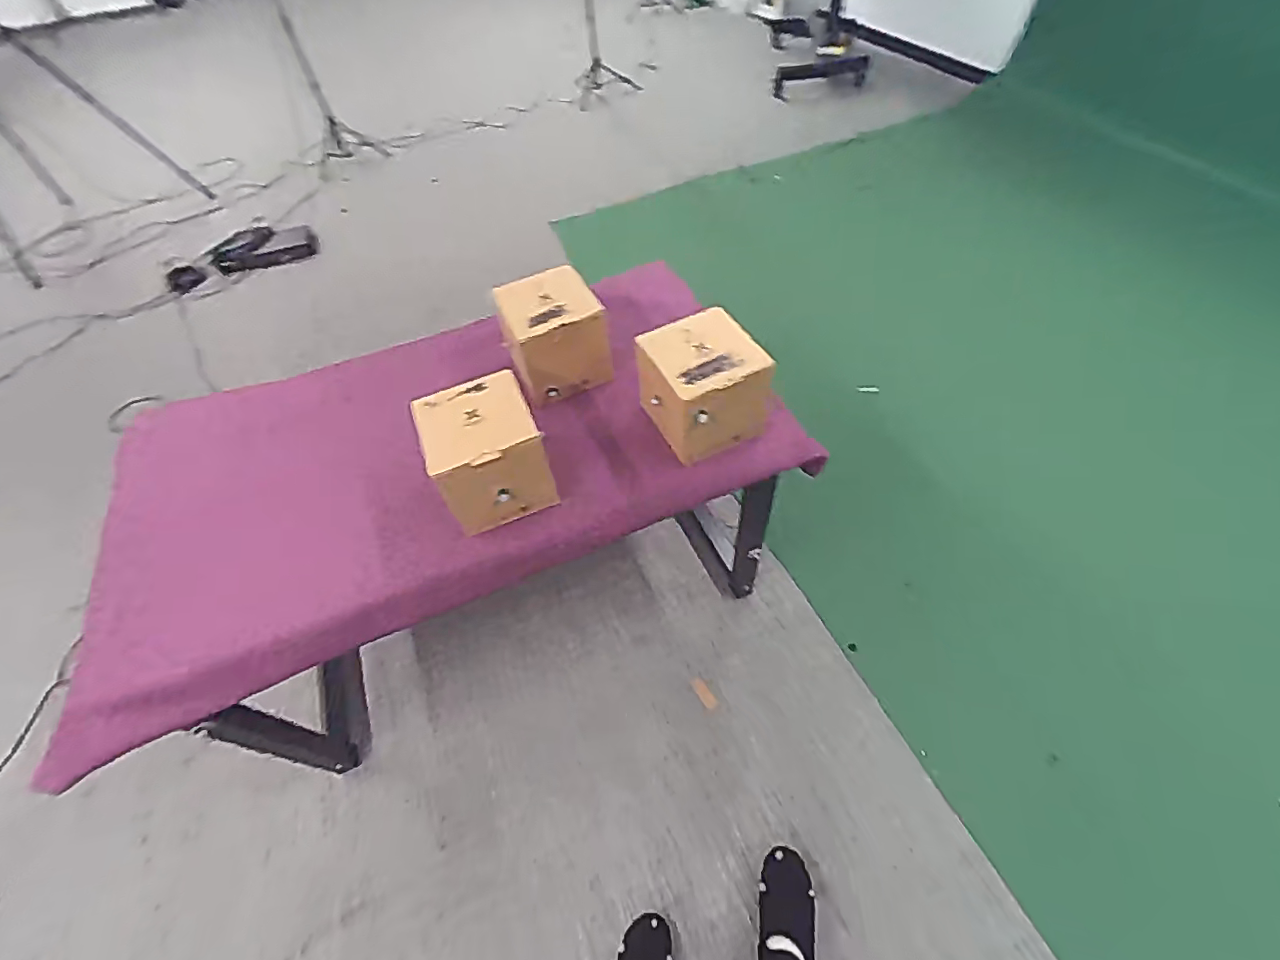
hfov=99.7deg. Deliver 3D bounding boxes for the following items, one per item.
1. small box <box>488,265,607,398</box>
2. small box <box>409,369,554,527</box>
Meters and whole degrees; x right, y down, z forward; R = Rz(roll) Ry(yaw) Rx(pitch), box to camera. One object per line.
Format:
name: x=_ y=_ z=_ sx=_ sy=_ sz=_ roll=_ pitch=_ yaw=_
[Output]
small box: x=-0.174 y=-0.281 z=1.056 sx=0.168 sy=0.176 sz=0.179 roll=-23 pitch=55 yaw=-12
small box: x=-0.253 y=-0.044 z=0.887 sx=0.168 sy=0.176 sz=0.179 roll=-21 pitch=54 yaw=-11
